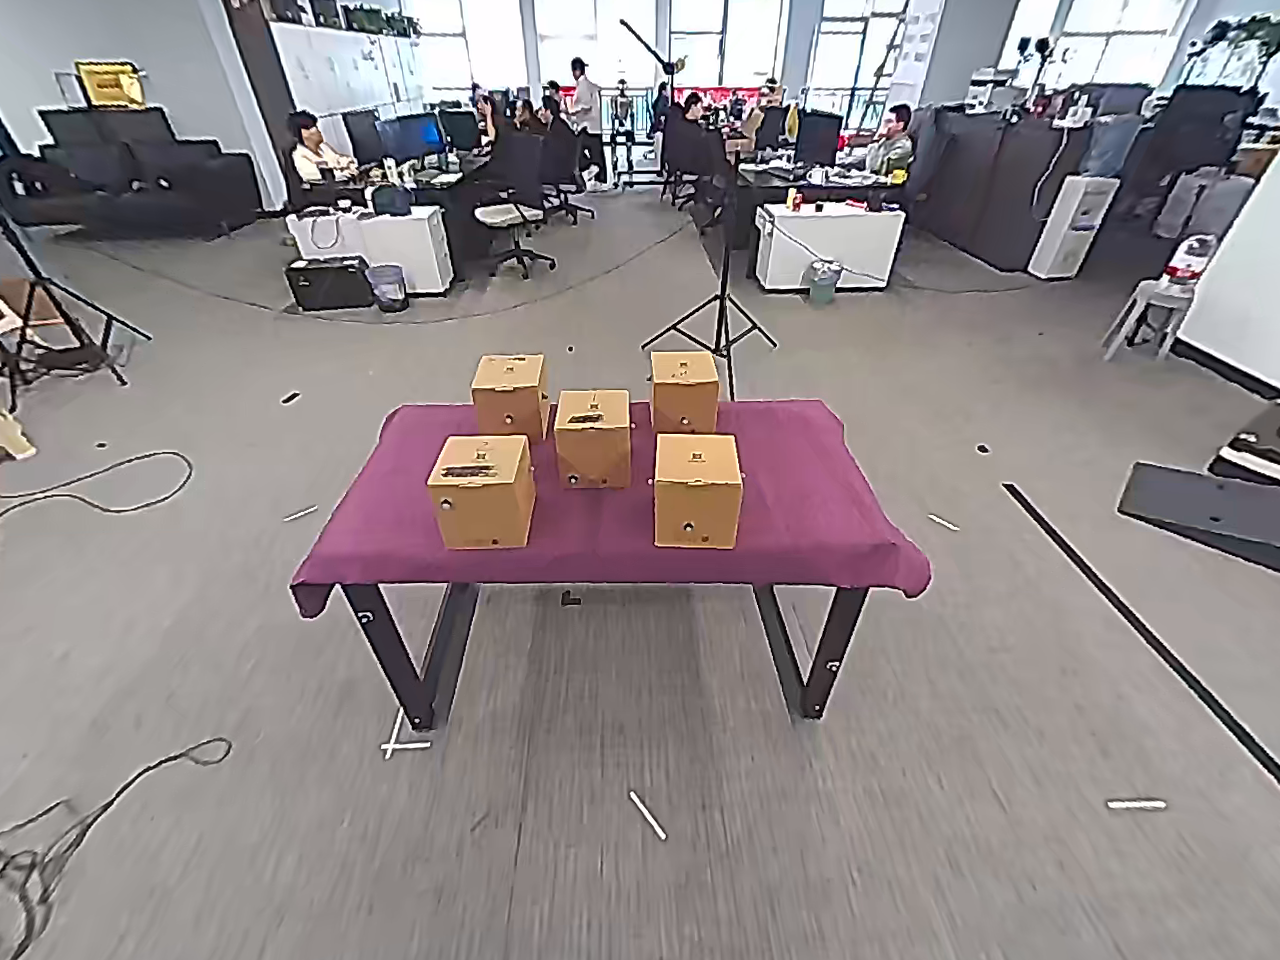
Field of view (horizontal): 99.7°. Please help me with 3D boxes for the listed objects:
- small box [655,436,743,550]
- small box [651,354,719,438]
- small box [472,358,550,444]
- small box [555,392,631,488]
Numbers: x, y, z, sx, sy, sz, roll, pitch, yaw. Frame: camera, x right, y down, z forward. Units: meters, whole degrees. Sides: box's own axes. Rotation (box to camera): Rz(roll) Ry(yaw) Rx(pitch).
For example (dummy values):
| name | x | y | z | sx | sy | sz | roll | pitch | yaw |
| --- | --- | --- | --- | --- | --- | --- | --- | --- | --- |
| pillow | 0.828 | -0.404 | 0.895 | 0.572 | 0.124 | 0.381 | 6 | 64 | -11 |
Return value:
| name | x | y | z | sx | sy | sz | roll | pitch | yaw |
| --- | --- | --- | --- | --- | --- | --- | --- | --- | --- |
| small box | 0.117 | 0.024 | 1.134 | 0.168 | 0.176 | 0.179 | 1 | 36 | 2 |
| small box | 0.114 | -0.227 | 1.458 | 0.168 | 0.176 | 0.179 | -2 | 39 | -1 |
| small box | -0.333 | -0.207 | 1.435 | 0.168 | 0.176 | 0.179 | -1 | 40 | -2 |
| small box | -0.105 | -0.093 | 1.290 | 0.168 | 0.176 | 0.179 | -1 | 37 | -1 |
